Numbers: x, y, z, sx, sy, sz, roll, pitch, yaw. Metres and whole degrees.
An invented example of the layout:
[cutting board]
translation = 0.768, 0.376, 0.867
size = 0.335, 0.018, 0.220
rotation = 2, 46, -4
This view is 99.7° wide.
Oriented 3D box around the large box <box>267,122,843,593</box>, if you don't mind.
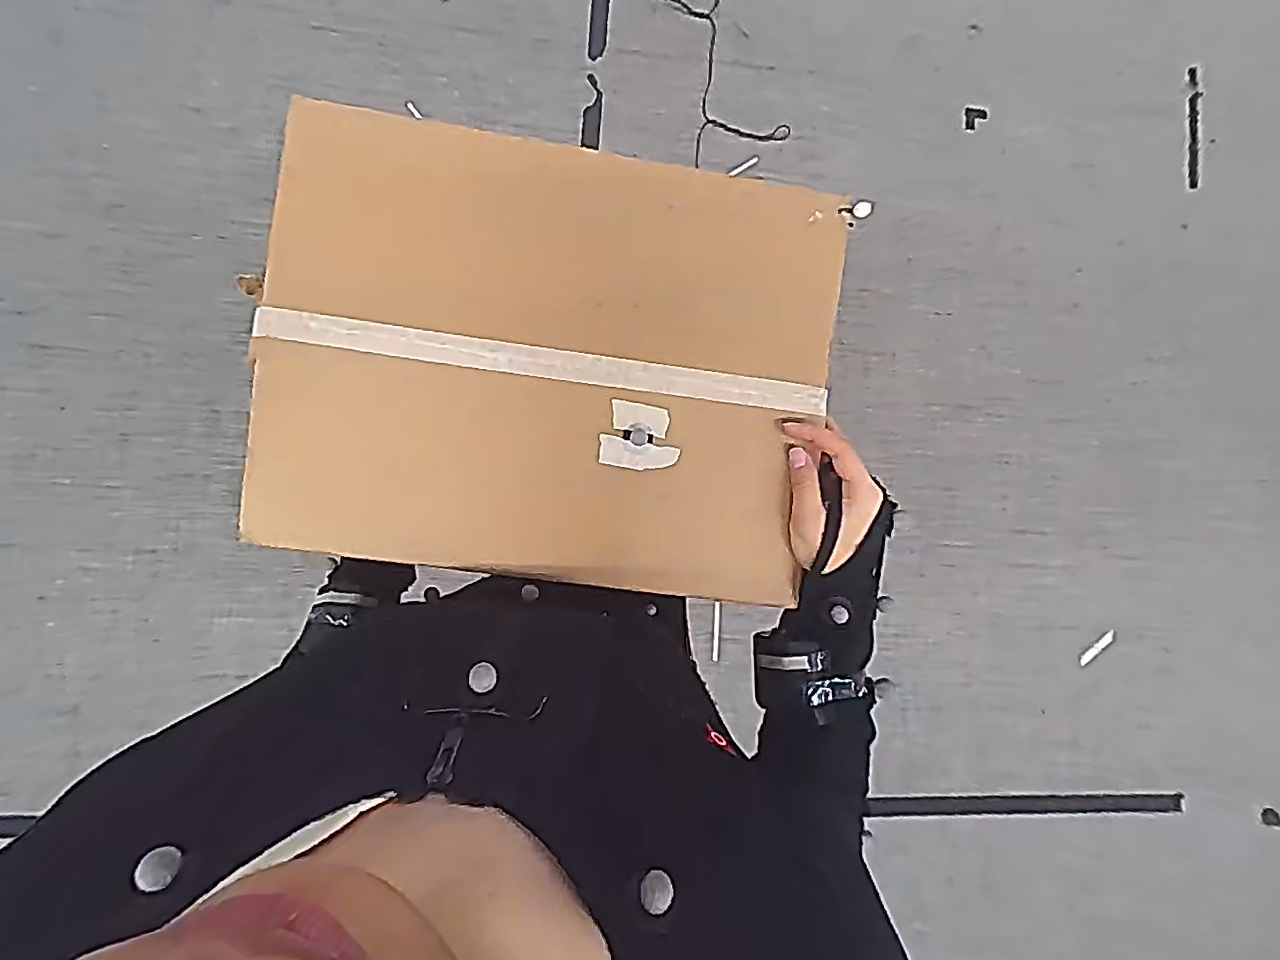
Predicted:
[large box]
translation = -0.069, -0.086, 0.549
size = 0.408, 0.320, 0.320
rotation = 7, 91, -5
